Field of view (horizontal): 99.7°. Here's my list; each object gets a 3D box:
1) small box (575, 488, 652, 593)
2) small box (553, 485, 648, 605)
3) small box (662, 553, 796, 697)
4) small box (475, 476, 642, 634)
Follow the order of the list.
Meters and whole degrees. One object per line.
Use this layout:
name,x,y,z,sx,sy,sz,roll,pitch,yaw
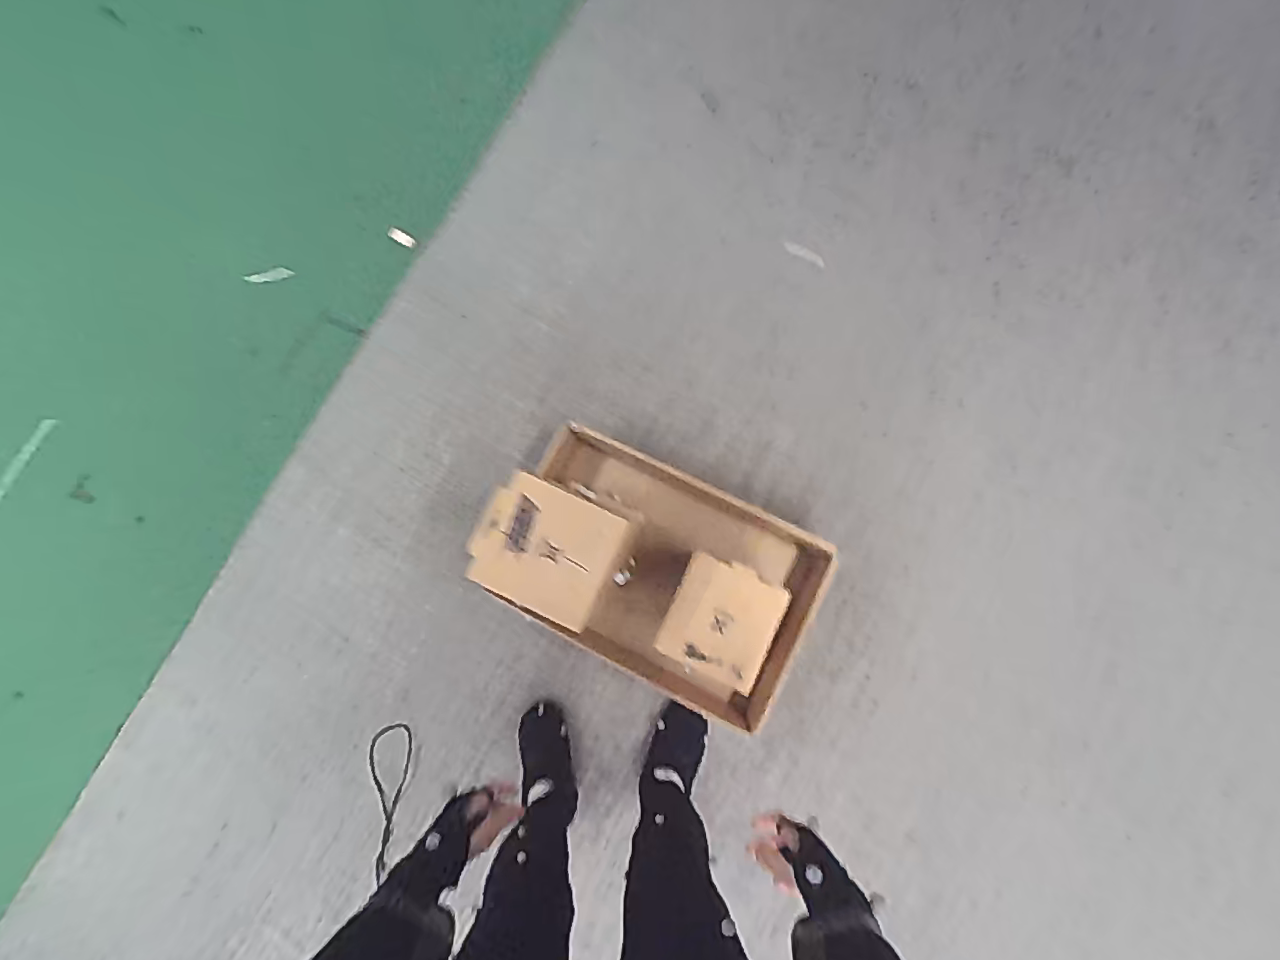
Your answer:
small box,-0.080,0.136,1.144,0.168,0.176,0.179,24,84,6
small box,-0.099,0.126,0.982,0.179,0.176,0.168,25,86,7
small box,0.149,0.242,0.942,0.168,0.176,0.179,24,84,10
small box,-0.111,0.111,0.819,0.179,0.176,0.168,24,87,7
